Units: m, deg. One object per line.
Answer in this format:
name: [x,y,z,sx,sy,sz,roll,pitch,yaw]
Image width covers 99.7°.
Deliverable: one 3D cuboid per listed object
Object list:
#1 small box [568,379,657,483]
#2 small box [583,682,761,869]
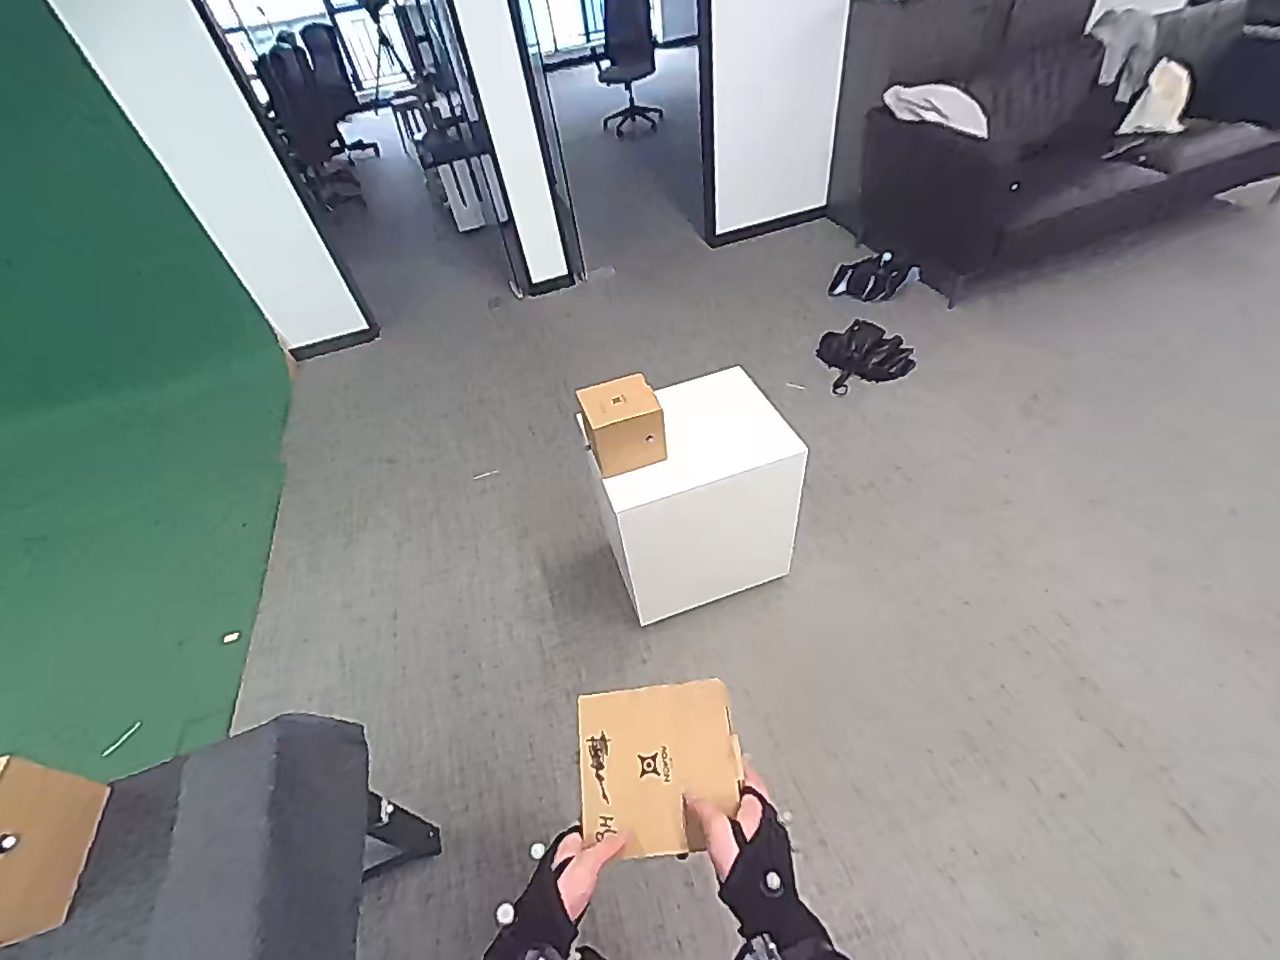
small box: [-0.064,-0.120,1.343,0.179,0.176,0.168,-18,45,-12]
small box: [0.036,0.346,0.644,0.179,0.176,0.168,-9,60,3]
